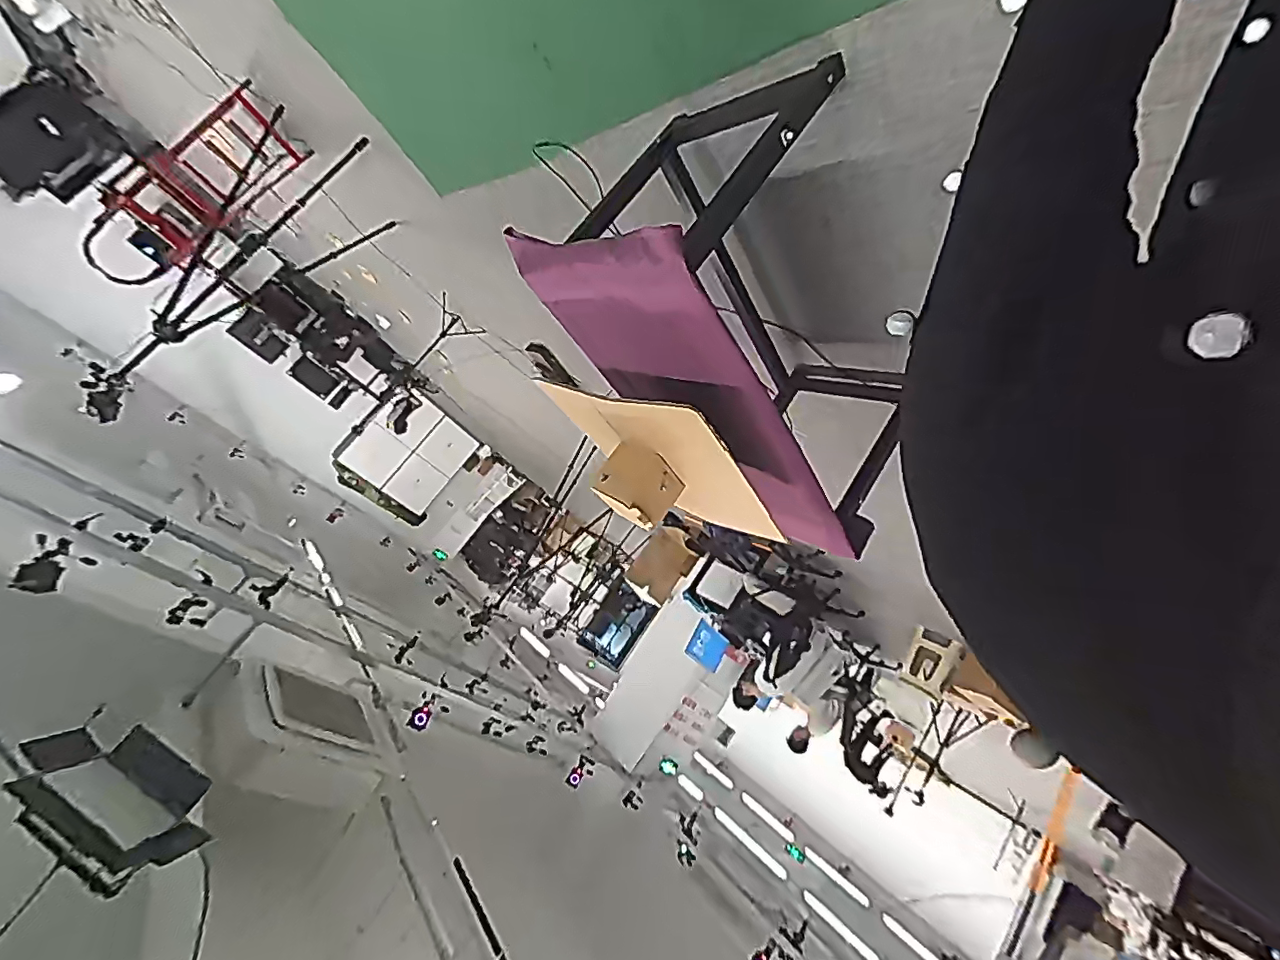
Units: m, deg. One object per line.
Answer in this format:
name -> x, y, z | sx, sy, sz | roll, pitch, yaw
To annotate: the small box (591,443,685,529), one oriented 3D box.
small box -> -0.003, 0.011, 1.584 | 0.179, 0.176, 0.168 | 23, 163, 46
